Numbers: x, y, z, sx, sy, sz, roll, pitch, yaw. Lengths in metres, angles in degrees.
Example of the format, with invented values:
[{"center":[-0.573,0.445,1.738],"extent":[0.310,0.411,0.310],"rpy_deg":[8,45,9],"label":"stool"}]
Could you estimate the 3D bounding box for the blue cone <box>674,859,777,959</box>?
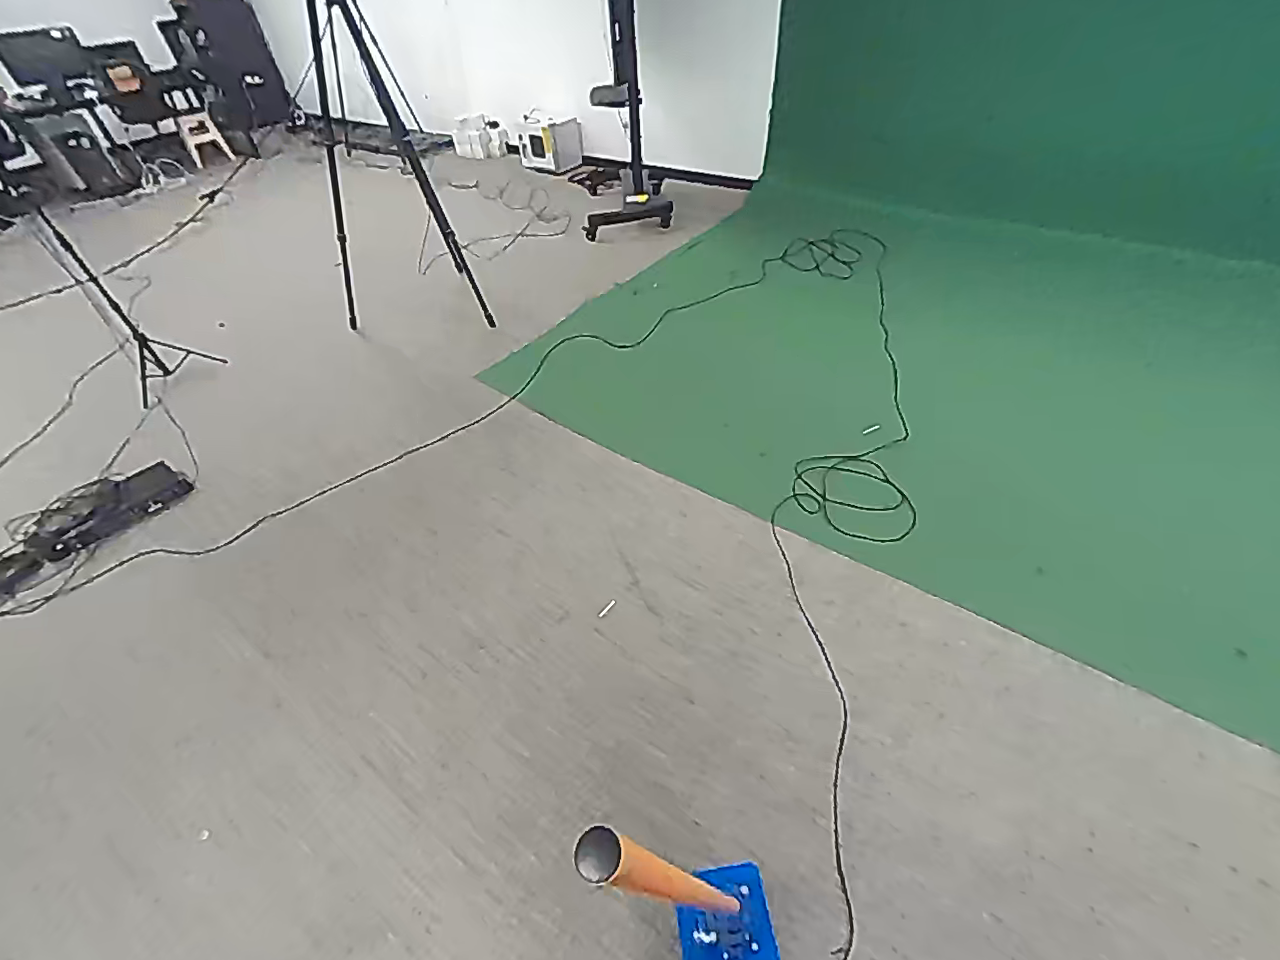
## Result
[{"center":[0.165,0.826,1.029],"extent":[0.193,0.380,0.192],"rpy_deg":[-11,47,-3],"label":"blue cone"}]
